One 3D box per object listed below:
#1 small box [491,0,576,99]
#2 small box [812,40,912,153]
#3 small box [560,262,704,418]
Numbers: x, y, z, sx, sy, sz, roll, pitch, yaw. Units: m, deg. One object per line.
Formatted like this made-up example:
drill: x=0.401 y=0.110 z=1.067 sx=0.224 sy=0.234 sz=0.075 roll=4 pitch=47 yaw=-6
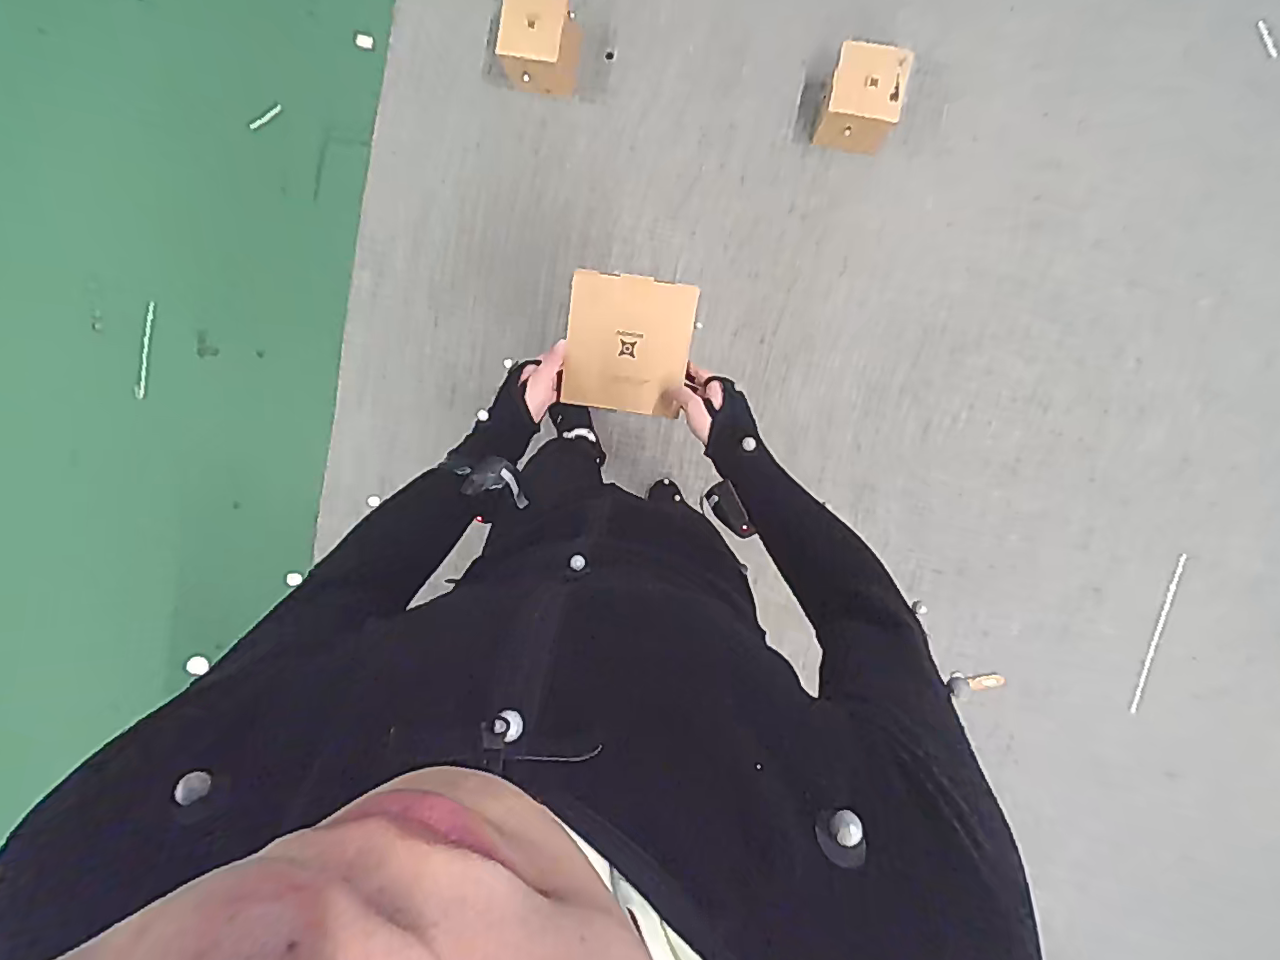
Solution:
small box: x=-0.274 y=-1.152 z=1.430 sx=0.168 sy=0.176 sz=0.179 roll=11 pitch=96 yaw=4
small box: x=0.554 y=-0.965 z=1.377 sx=0.179 sy=0.176 sz=0.168 roll=12 pitch=97 yaw=4
small box: x=-0.010 y=-0.194 z=0.774 sx=0.168 sy=0.176 sz=0.179 roll=9 pitch=102 yaw=0
